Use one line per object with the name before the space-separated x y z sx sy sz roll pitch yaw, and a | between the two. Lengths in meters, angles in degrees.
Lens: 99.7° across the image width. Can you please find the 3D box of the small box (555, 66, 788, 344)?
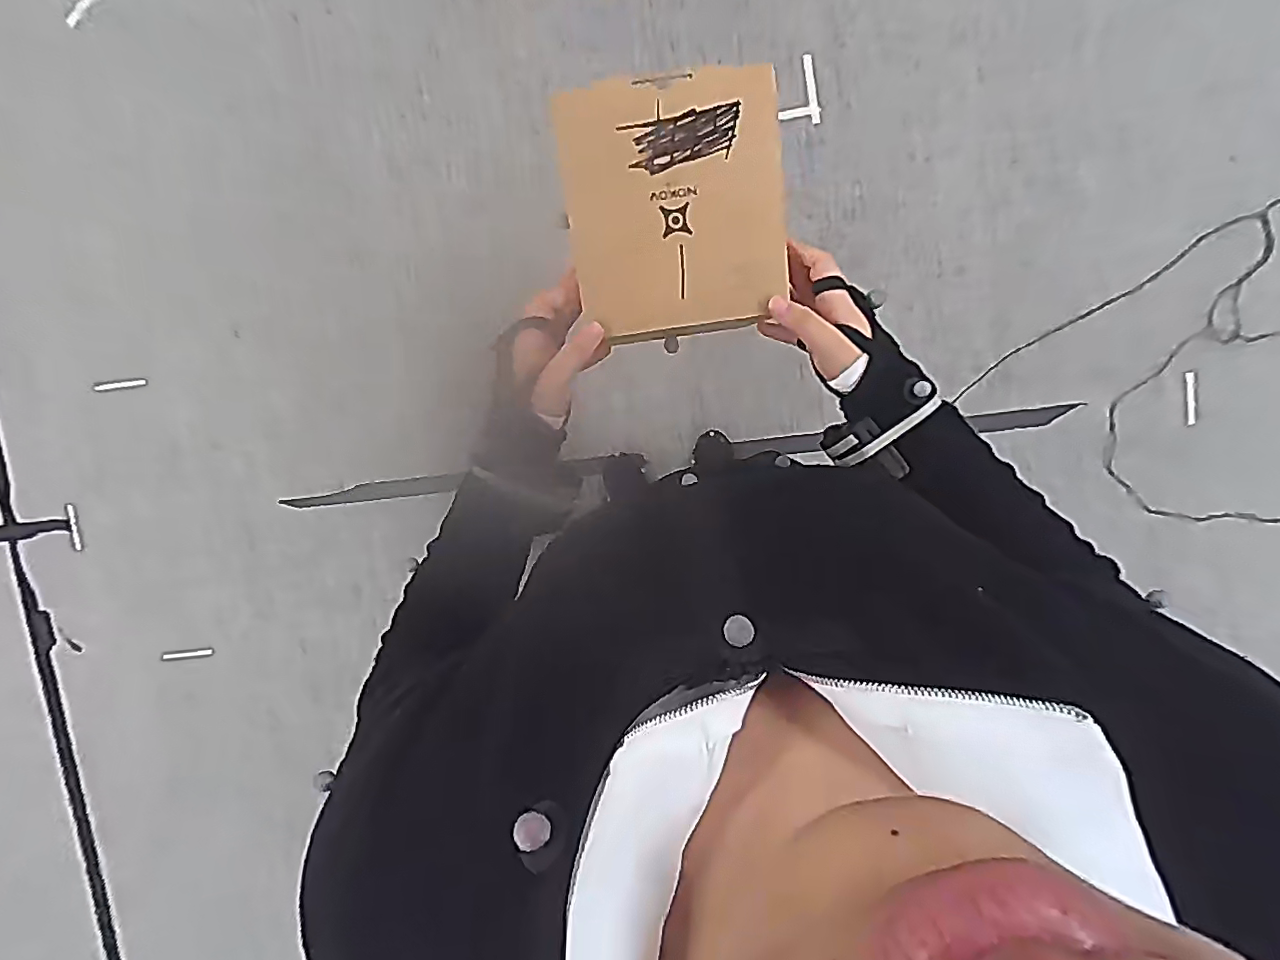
small box | 0.025 -0.225 0.490 0.168 0.176 0.179 -8 102 0
